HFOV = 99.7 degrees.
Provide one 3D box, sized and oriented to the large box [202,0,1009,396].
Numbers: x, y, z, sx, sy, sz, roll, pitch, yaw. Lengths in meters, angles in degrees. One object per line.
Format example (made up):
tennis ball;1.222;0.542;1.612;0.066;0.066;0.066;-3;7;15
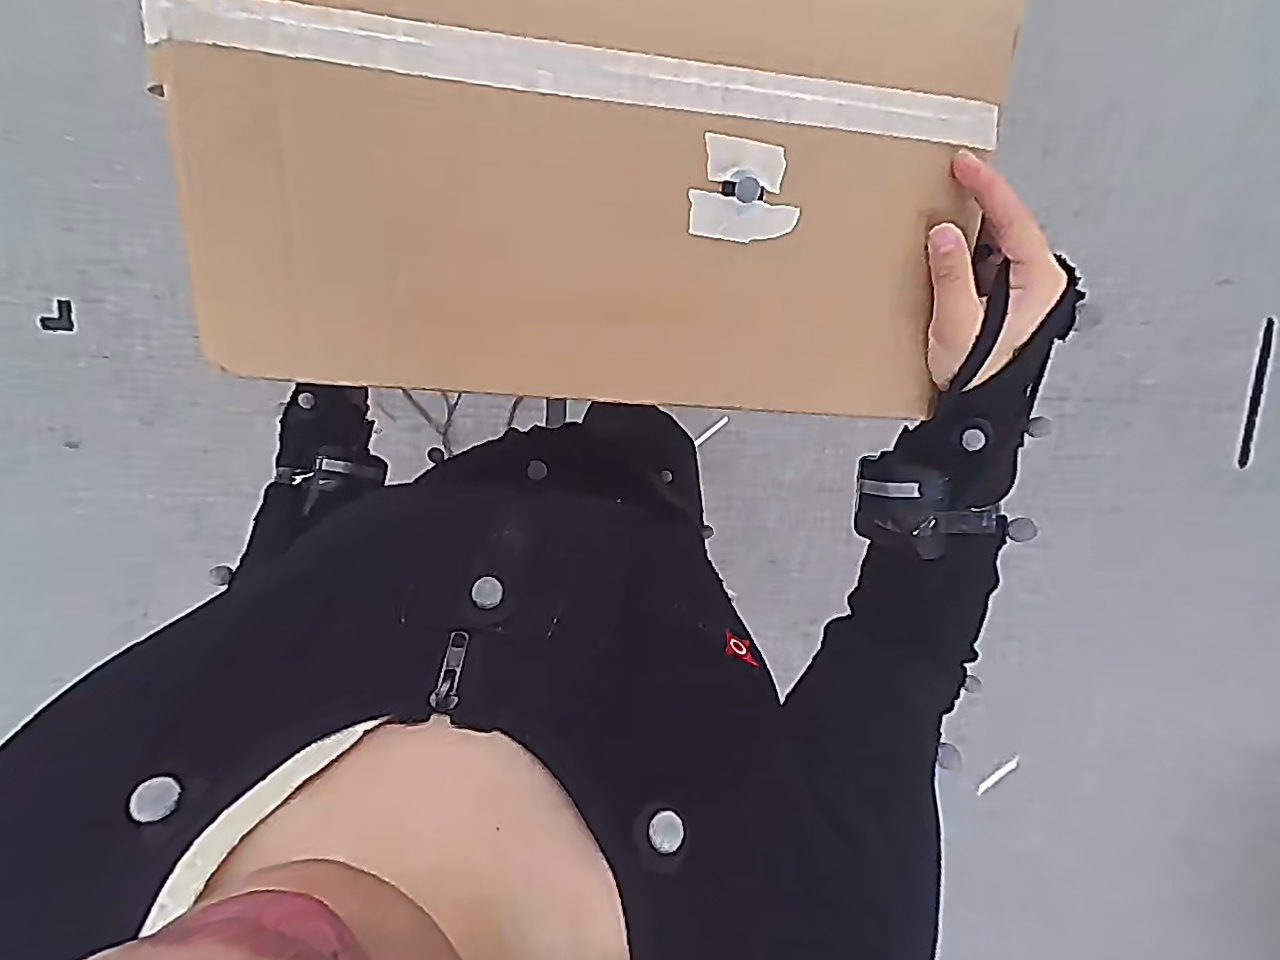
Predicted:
large box;-0.026;-0.242;0.418;0.408;0.320;0.320;2;106;-9
